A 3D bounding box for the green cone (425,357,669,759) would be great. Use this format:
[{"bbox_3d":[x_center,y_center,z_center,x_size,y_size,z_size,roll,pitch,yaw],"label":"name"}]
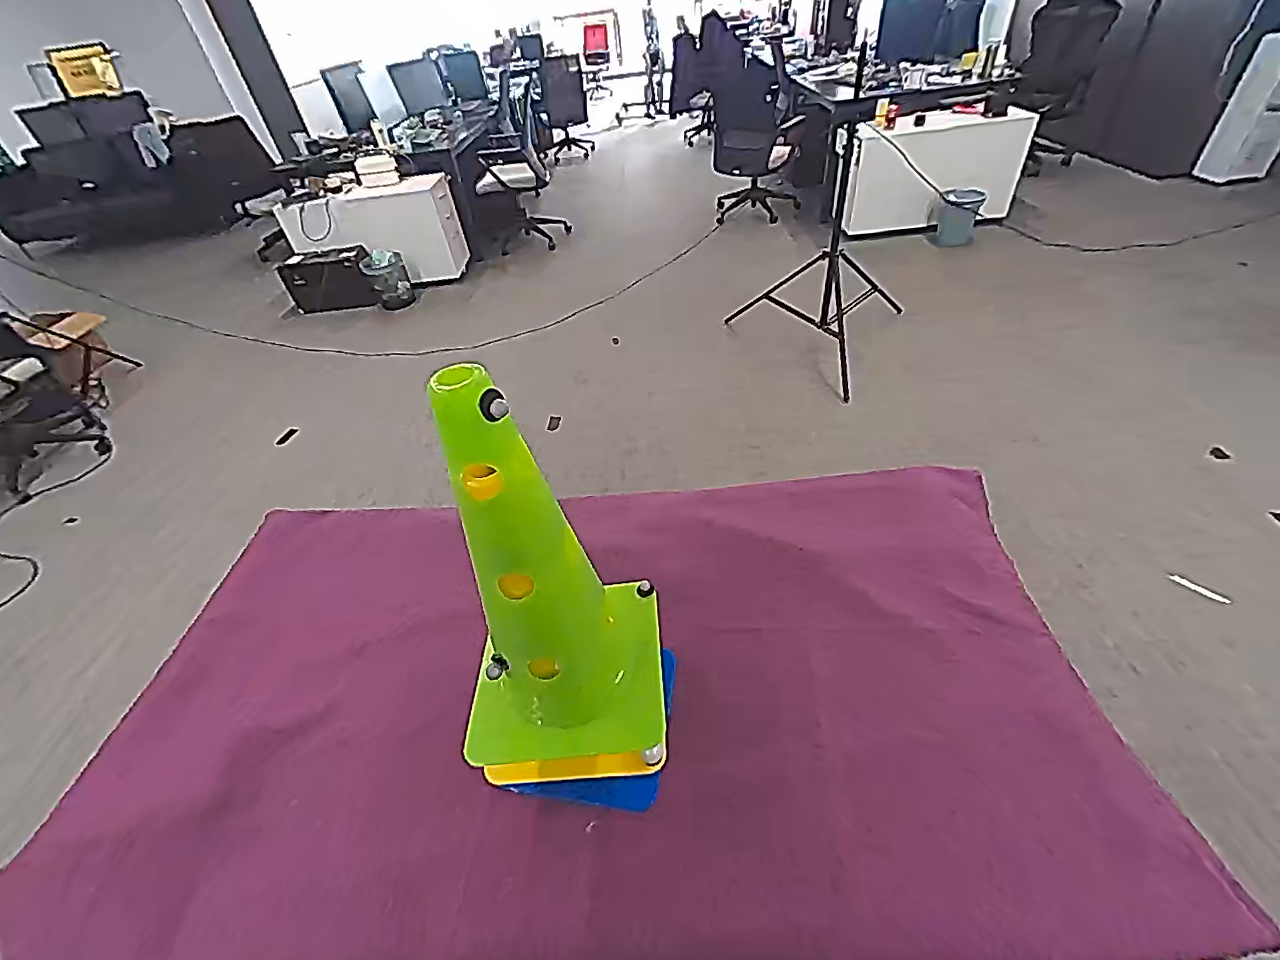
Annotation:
[{"bbox_3d":[-0.100,0.061,0.473,0.200,0.368,0.202,-9,40,3],"label":"green cone"}]
